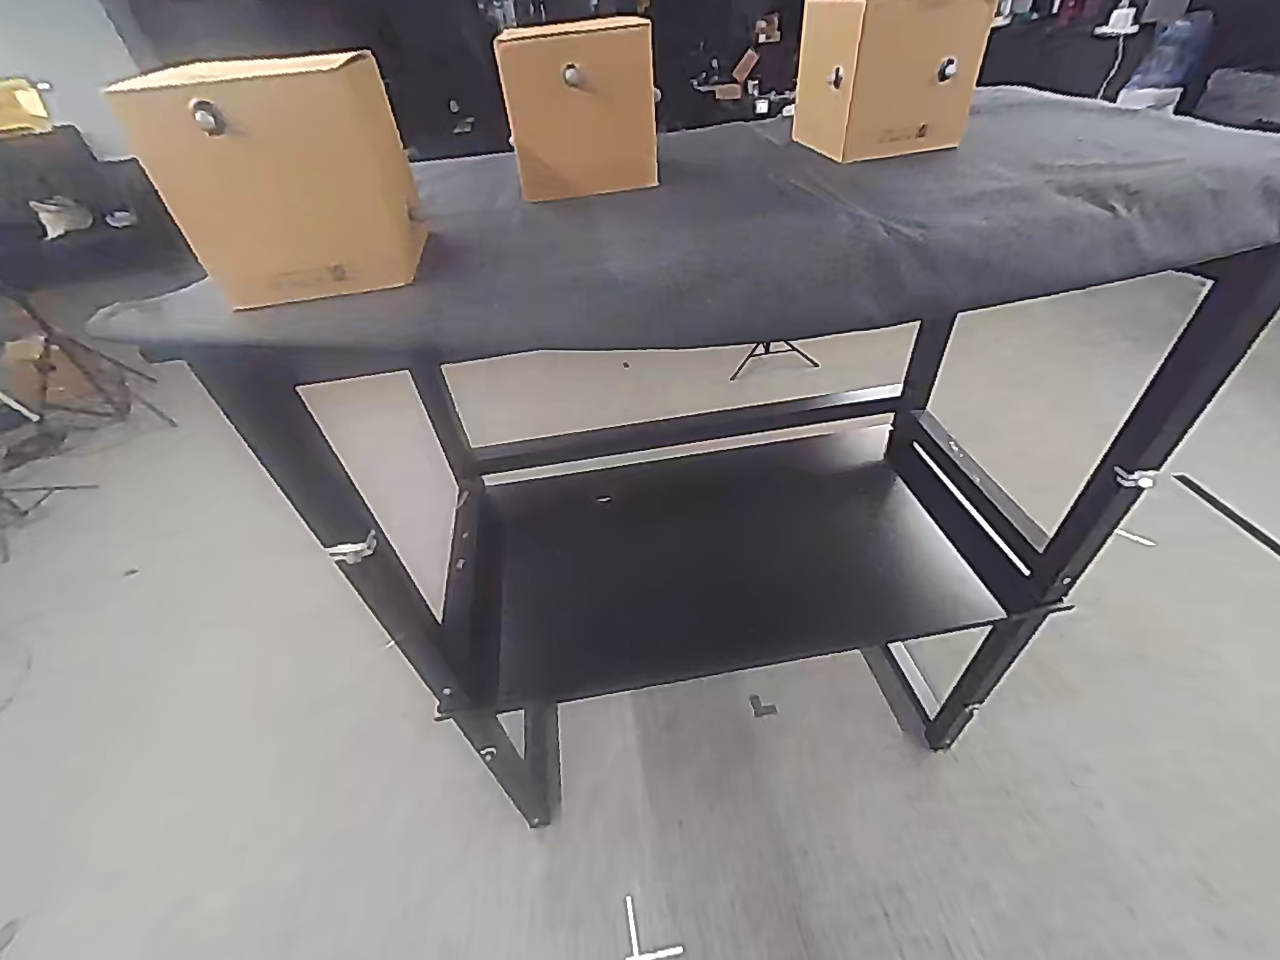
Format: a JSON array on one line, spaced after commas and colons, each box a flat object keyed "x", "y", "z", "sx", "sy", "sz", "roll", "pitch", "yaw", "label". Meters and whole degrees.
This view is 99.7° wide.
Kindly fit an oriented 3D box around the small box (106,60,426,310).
[{"x": -0.316, "y": -0.280, "z": 0.511, "sx": 0.168, "sy": 0.176, "sz": 0.179, "roll": -11, "pitch": 42, "yaw": -5, "label": "small box"}]

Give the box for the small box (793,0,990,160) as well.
[{"x": 0.318, "y": -0.540, "z": 0.720, "sx": 0.168, "sy": 0.176, "sz": 0.179, "roll": -10, "pitch": 43, "yaw": -5, "label": "small box"}]

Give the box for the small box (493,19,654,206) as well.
[{"x": -0.078, "y": -0.475, "z": 0.701, "sx": 0.179, "sy": 0.176, "sz": 0.168, "roll": -9, "pitch": 43, "yaw": -2, "label": "small box"}]
